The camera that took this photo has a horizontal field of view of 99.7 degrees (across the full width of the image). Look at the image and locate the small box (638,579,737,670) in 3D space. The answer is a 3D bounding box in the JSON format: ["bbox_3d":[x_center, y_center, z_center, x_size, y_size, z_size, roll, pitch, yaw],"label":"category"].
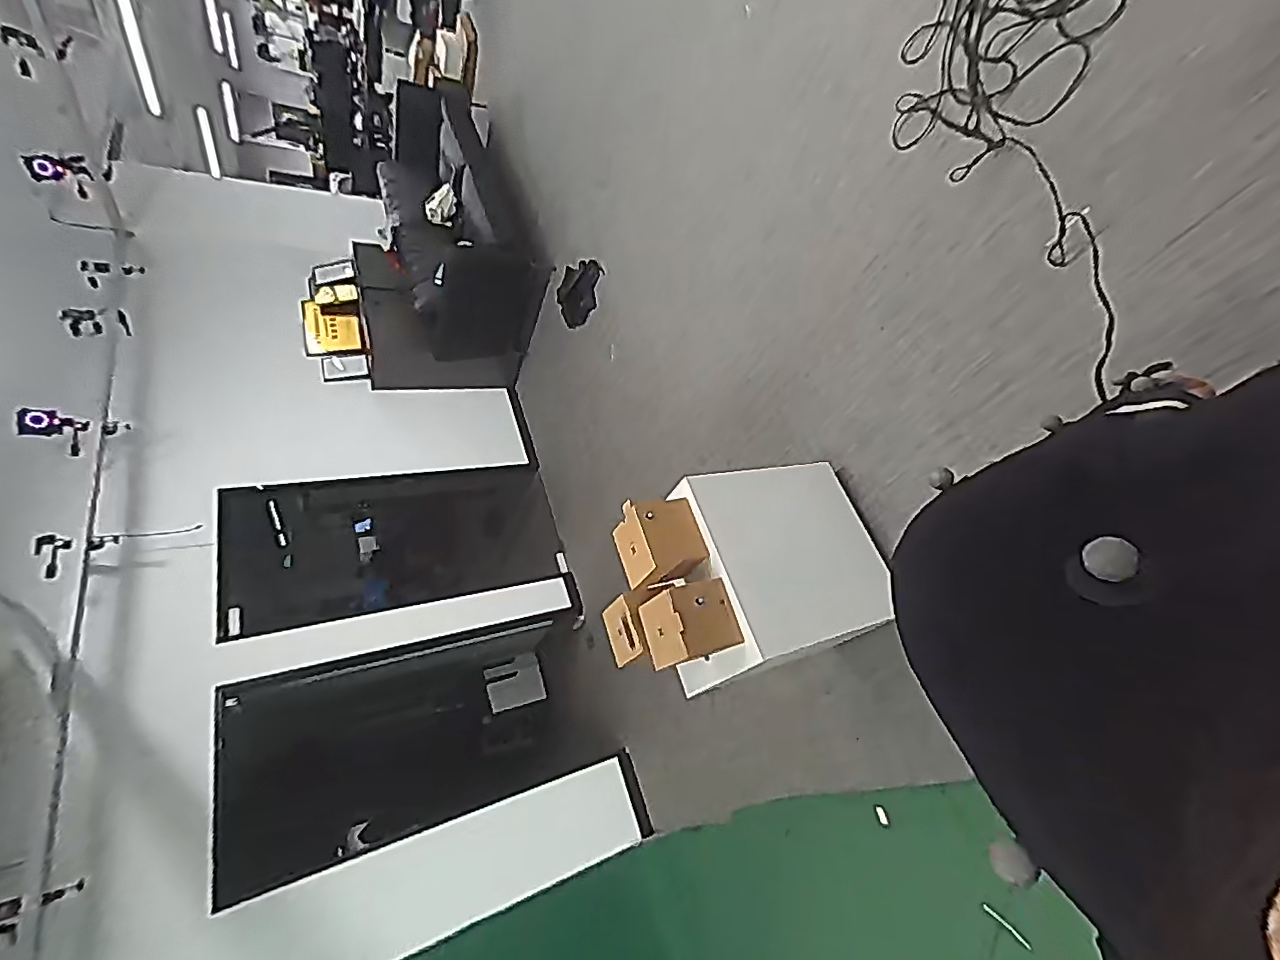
[{"bbox_3d":[0.121,0.357,1.344,0.179,0.176,0.168,-50,51,53],"label":"small box"}]
